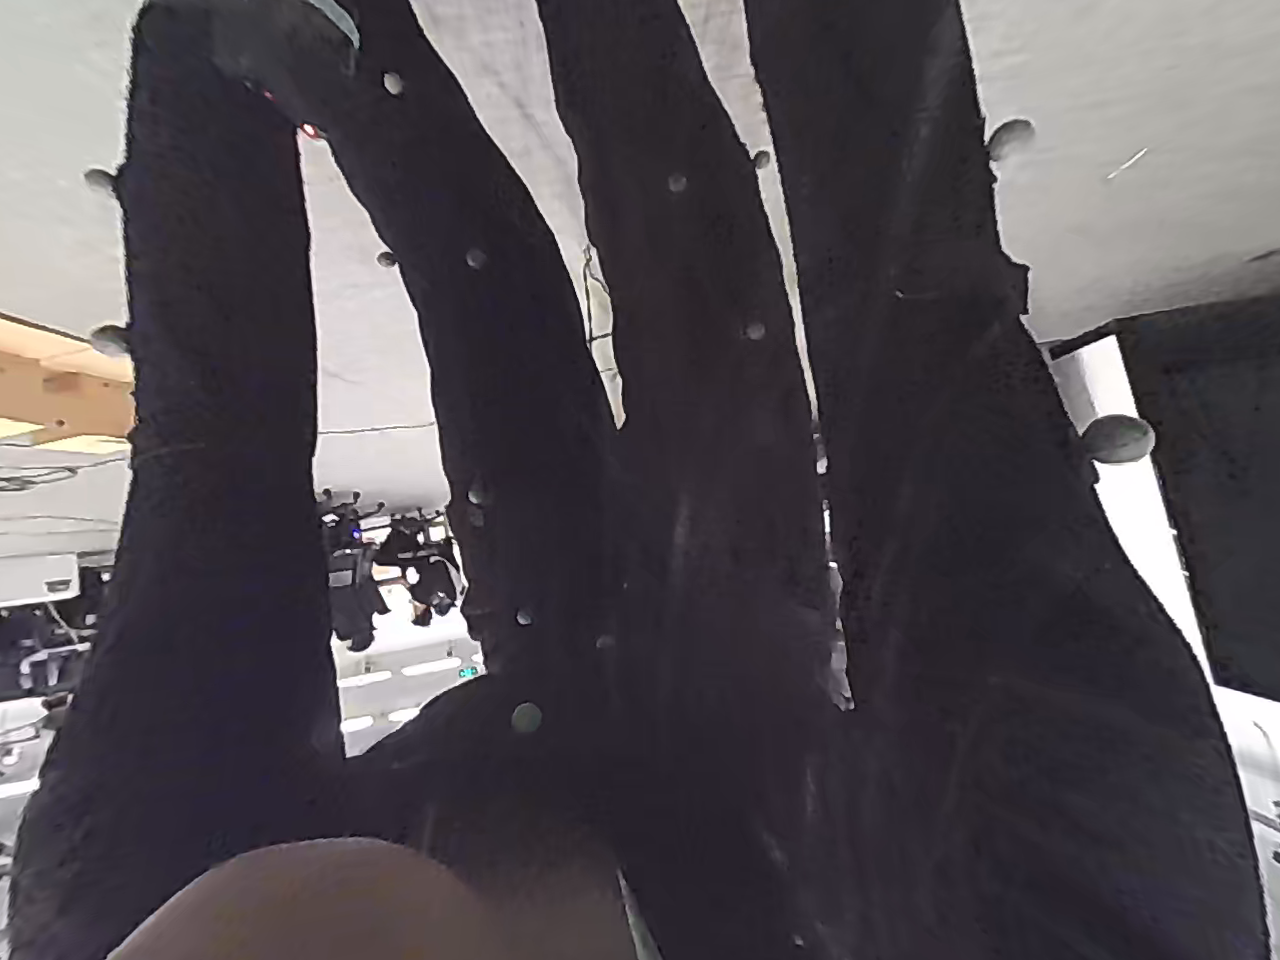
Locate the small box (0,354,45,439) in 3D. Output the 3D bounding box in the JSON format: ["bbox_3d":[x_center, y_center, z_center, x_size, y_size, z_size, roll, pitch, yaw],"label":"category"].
[{"bbox_3d":[-1.541,-0.195,1.240,0.179,0.176,0.168,-11,176,3],"label":"small box"}]

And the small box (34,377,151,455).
[{"bbox_3d":[-1.515,-0.174,1.490,0.179,0.176,0.168,-11,175,7],"label":"small box"}]
